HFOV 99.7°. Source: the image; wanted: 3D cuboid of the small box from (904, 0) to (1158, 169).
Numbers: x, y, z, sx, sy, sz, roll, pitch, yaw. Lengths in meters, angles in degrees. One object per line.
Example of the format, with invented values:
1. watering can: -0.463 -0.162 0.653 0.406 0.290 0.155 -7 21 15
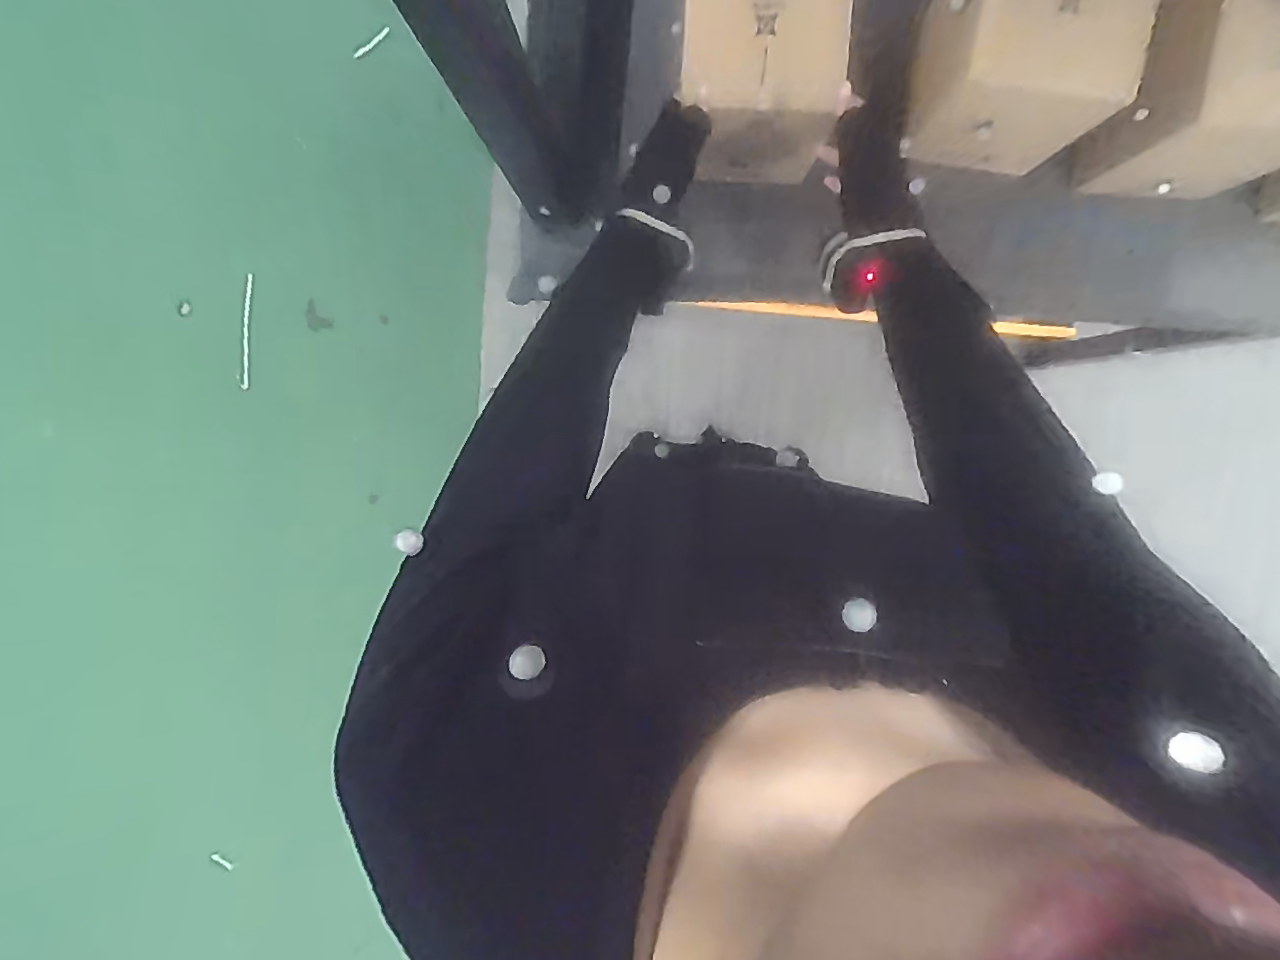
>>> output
1. small box: 0.423 -0.480 0.605 0.168 0.176 0.179 10 96 1

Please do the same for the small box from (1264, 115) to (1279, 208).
1. small box: 0.864 -0.402 0.591 0.168 0.176 0.179 4 96 2

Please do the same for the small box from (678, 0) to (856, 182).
1. small box: 0.132 -0.470 0.615 0.168 0.176 0.179 3 97 2
